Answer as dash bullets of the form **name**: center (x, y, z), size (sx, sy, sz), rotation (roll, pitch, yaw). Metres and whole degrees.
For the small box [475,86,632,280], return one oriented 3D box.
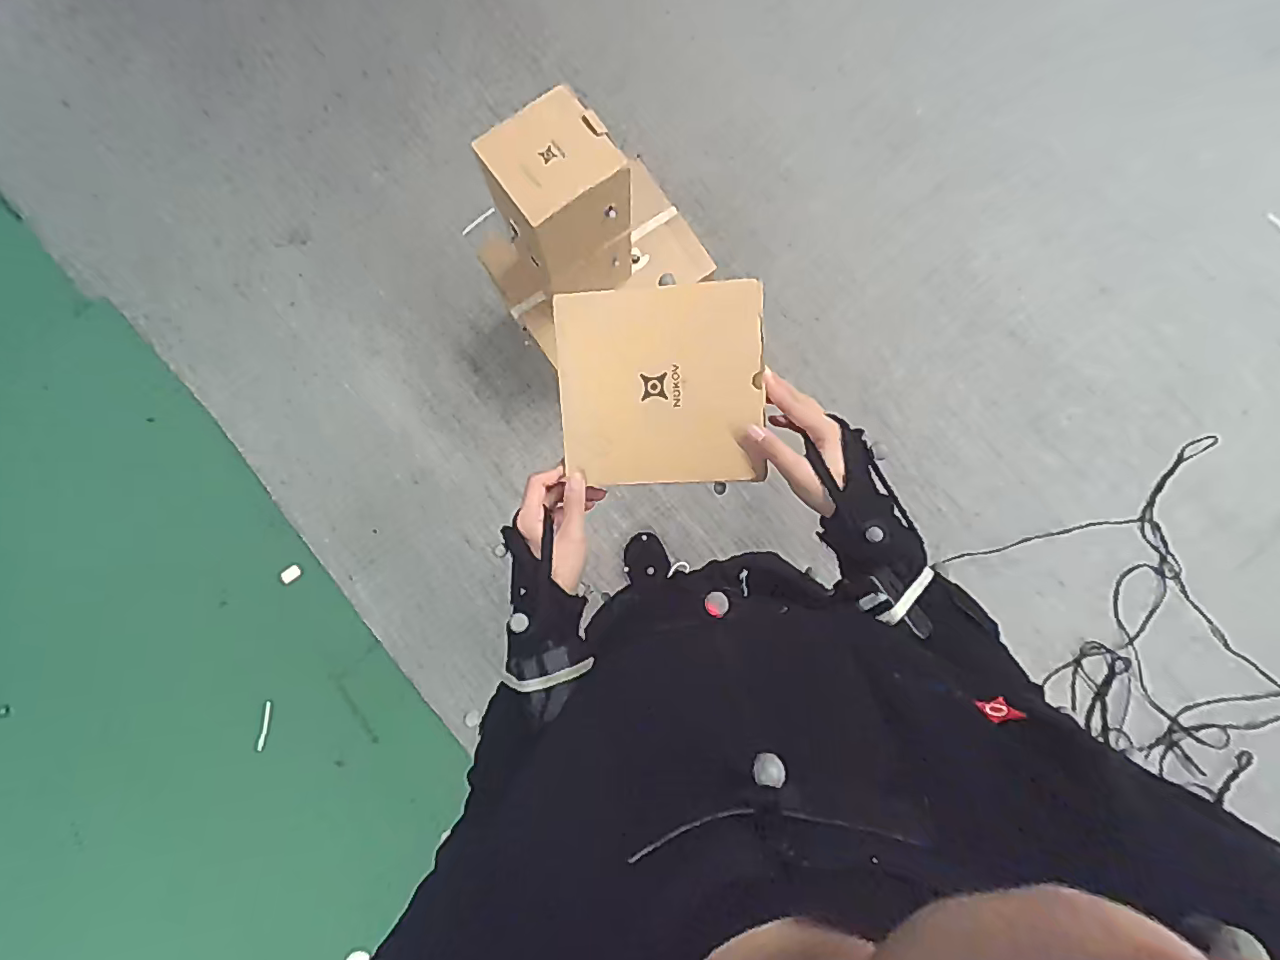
- **small box**: center (-0.129, -0.466, 0.873), size (0.179, 0.176, 0.168), rotation (-37, 84, -3)

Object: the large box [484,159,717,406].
- **large box**: center (-0.085, -0.438, 1.279), size (0.408, 0.320, 0.320), rotation (-34, 86, -4)
